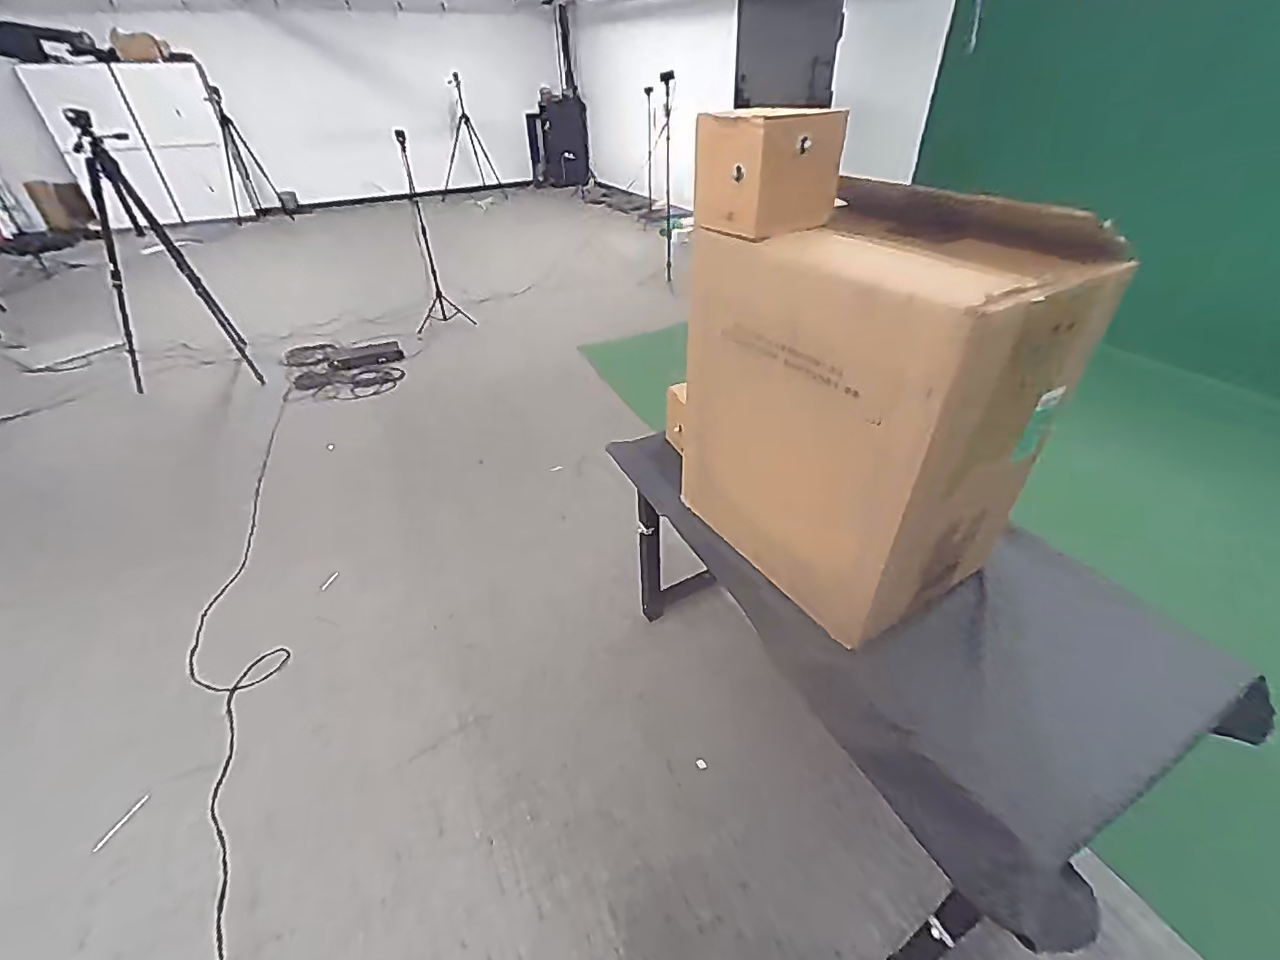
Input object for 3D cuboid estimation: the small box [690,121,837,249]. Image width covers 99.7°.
[{"bbox_3d":[0.199,-0.498,0.909,0.179,0.176,0.168,-20,40,-24],"label":"small box"}]
